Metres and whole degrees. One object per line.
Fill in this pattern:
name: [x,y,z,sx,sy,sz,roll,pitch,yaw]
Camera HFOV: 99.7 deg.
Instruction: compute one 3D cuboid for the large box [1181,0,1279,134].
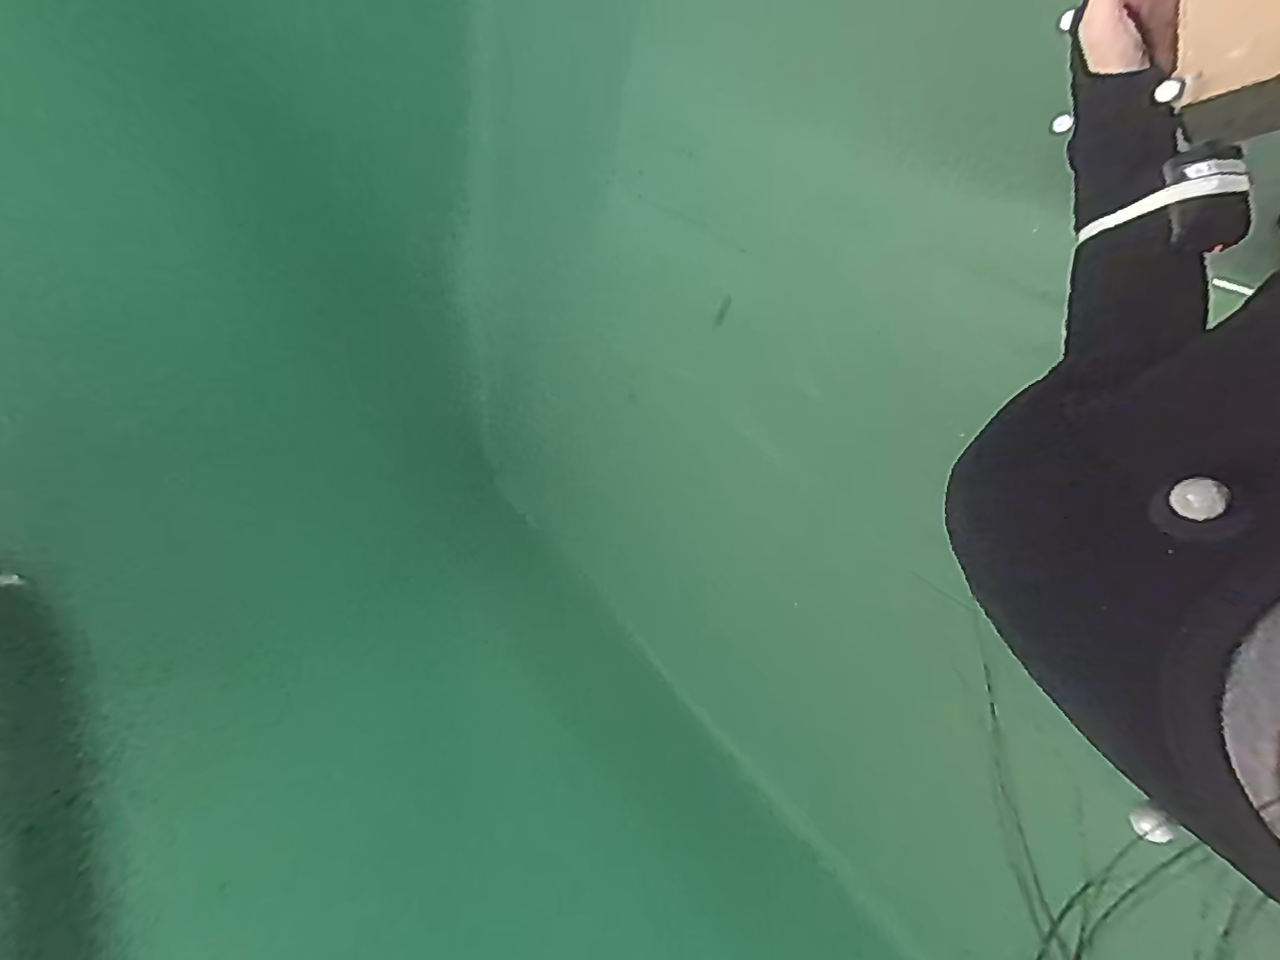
large box: [0.576,-0.436,0.276,0.408,0.320,0.320,4,111,47]
